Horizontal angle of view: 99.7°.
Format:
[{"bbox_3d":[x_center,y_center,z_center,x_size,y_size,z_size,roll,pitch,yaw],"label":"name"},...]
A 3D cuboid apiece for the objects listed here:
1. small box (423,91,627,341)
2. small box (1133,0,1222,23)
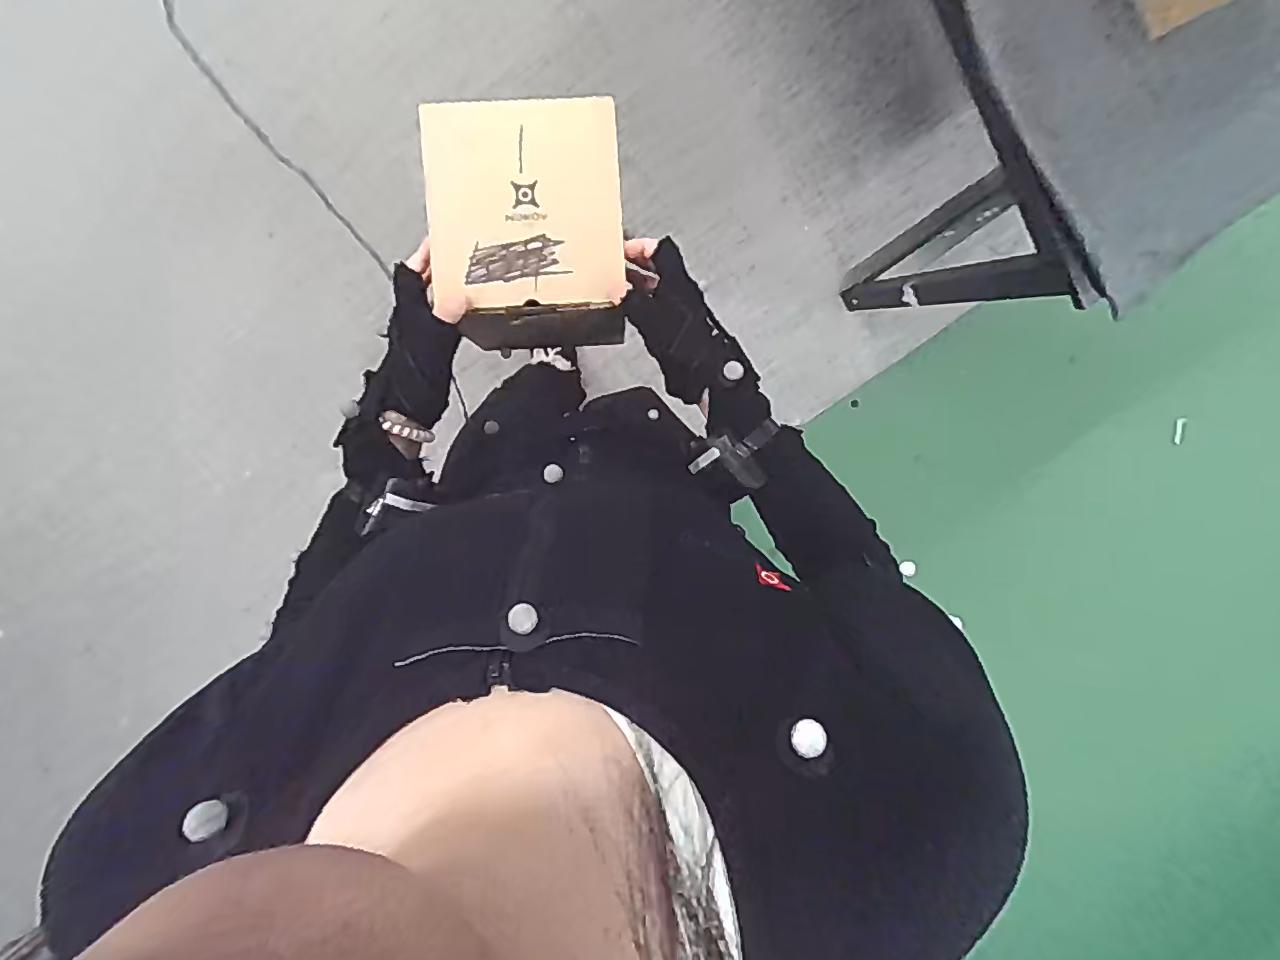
[{"bbox_3d":[-0.098,-0.238,0.532,0.168,0.176,0.179,-3,92,-3],"label":"small box"},{"bbox_3d":[0.632,-0.619,0.545,0.168,0.176,0.179,-37,105,5],"label":"small box"}]
